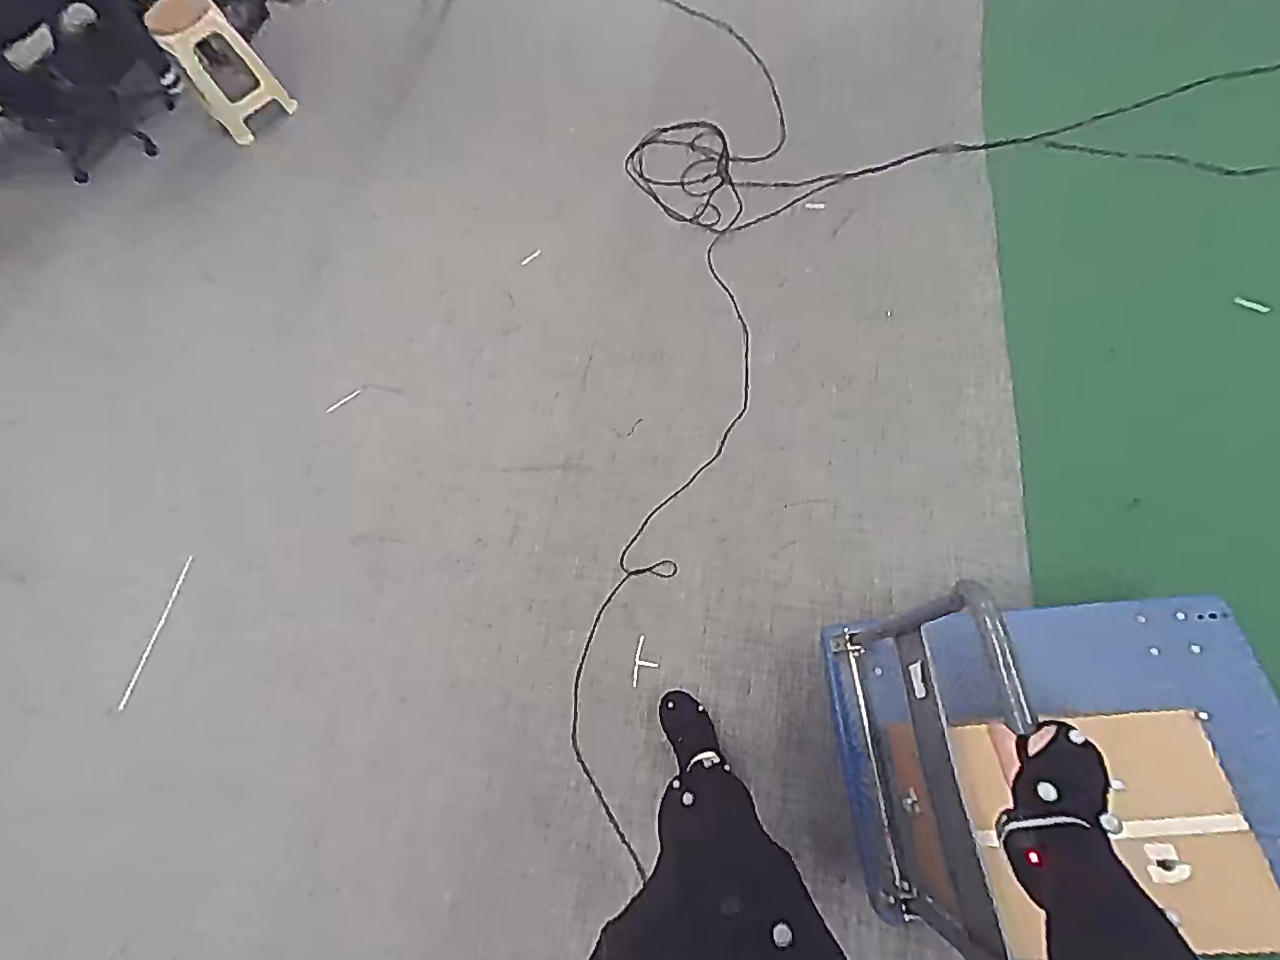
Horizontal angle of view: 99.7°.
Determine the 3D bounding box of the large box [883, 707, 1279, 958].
[{"bbox_3d":[0.716,0.592,0.968,0.408,0.320,0.320,-6,67,5],"label":"large box"}]
